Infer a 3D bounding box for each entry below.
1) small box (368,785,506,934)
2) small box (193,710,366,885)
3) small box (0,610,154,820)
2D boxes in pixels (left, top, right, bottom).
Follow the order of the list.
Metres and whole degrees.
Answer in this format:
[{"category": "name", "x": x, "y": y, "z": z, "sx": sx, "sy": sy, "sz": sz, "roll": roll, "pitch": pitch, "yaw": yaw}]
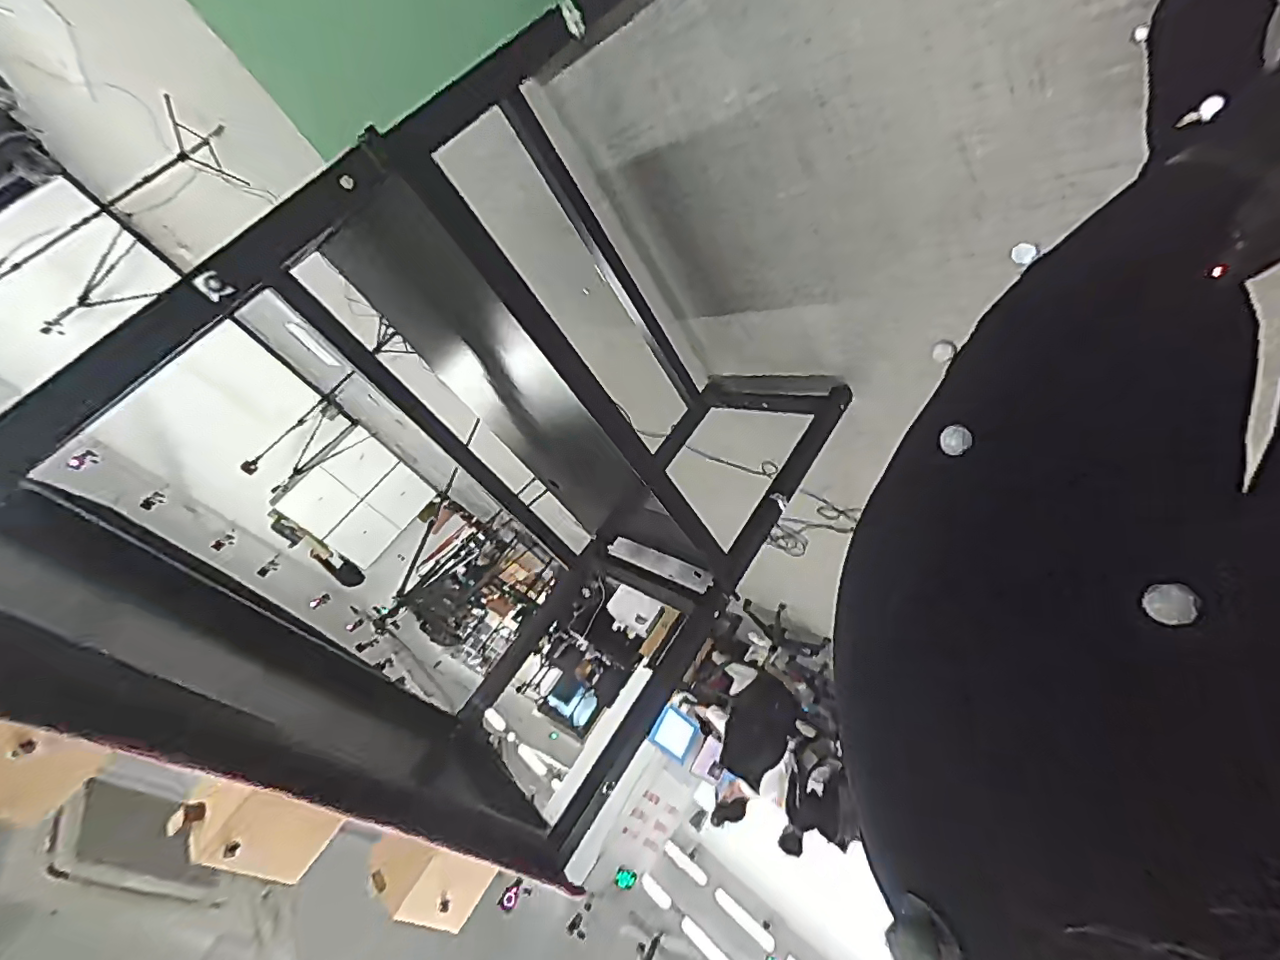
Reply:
[{"category": "small box", "x": -0.409, "y": 0.769, "z": 1.107, "sx": 0.168, "sy": 0.176, "sz": 0.179, "roll": 12, "pitch": 148, "yaw": 48}, {"category": "small box", "x": -0.605, "y": 0.530, "z": 0.917, "sx": 0.168, "sy": 0.176, "sz": 0.179, "roll": 16, "pitch": 151, "yaw": 50}, {"category": "small box", "x": -0.795, "y": 0.300, "z": 0.712, "sx": 0.179, "sy": 0.176, "sz": 0.168, "roll": 21, "pitch": 156, "yaw": 43}]
